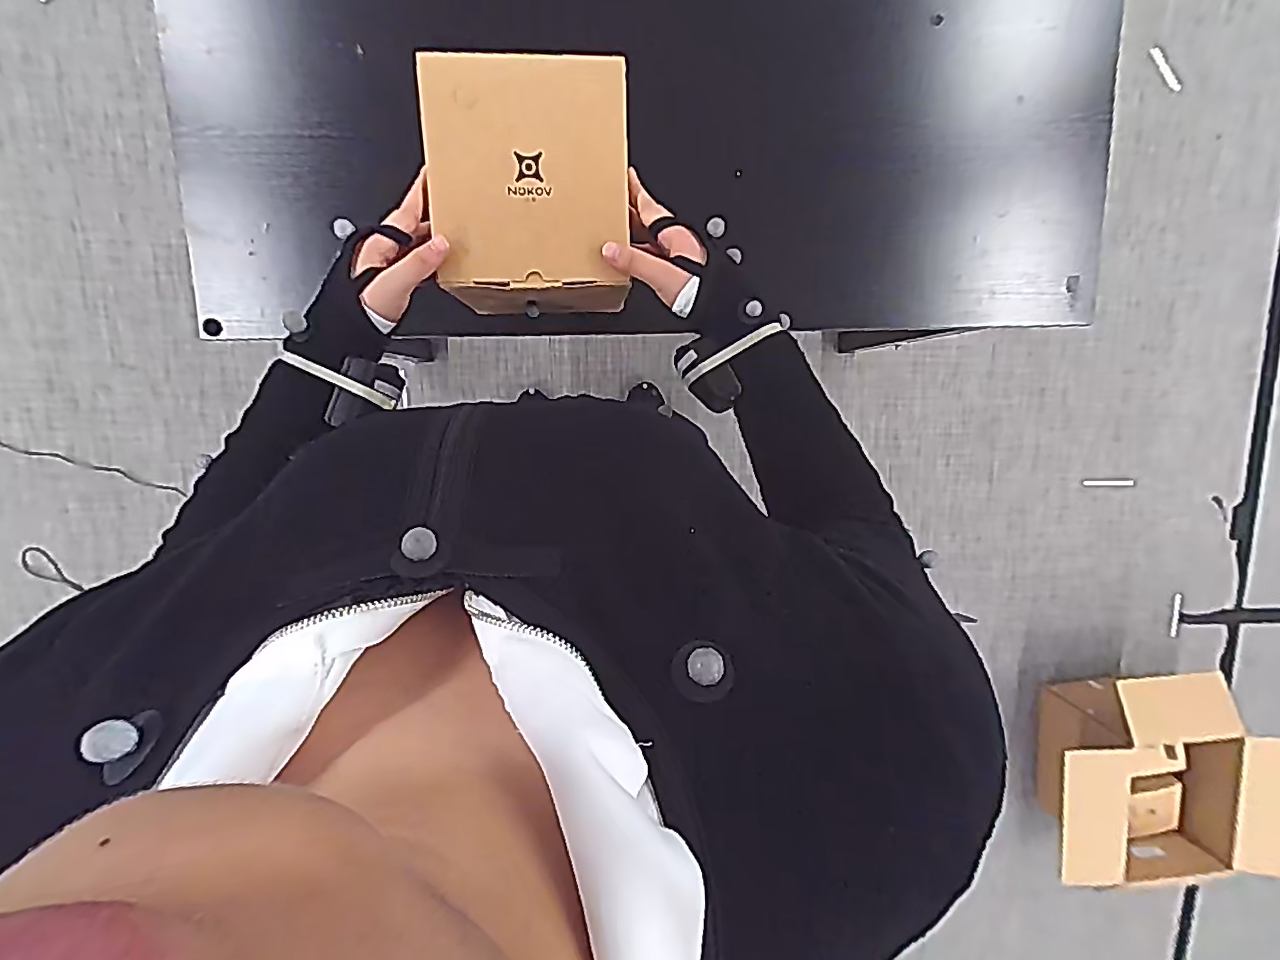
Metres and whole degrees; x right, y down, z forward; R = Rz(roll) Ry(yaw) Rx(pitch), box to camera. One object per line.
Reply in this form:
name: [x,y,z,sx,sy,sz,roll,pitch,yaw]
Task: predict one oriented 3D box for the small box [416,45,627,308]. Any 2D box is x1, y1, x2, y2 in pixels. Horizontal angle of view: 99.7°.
small box: [-0.102,-0.269,0.520,0.168,0.176,0.179,-2,101,-5]
